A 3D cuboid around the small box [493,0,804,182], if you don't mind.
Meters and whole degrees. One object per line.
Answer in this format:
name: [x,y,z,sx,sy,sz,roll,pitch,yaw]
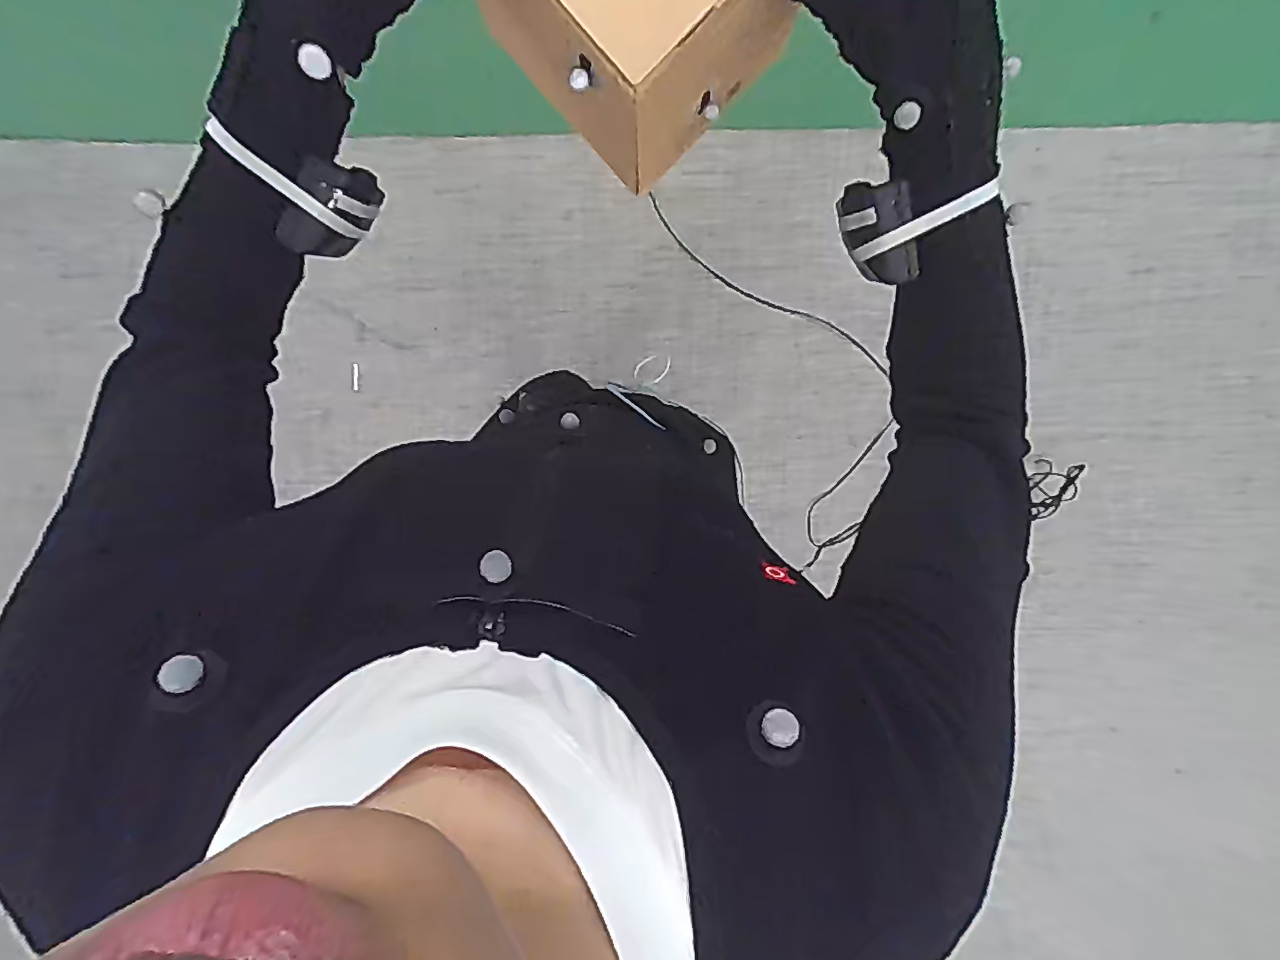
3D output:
small box: [0.001,-0.348,0.365,0.168,0.176,0.179,-42,98,6]
